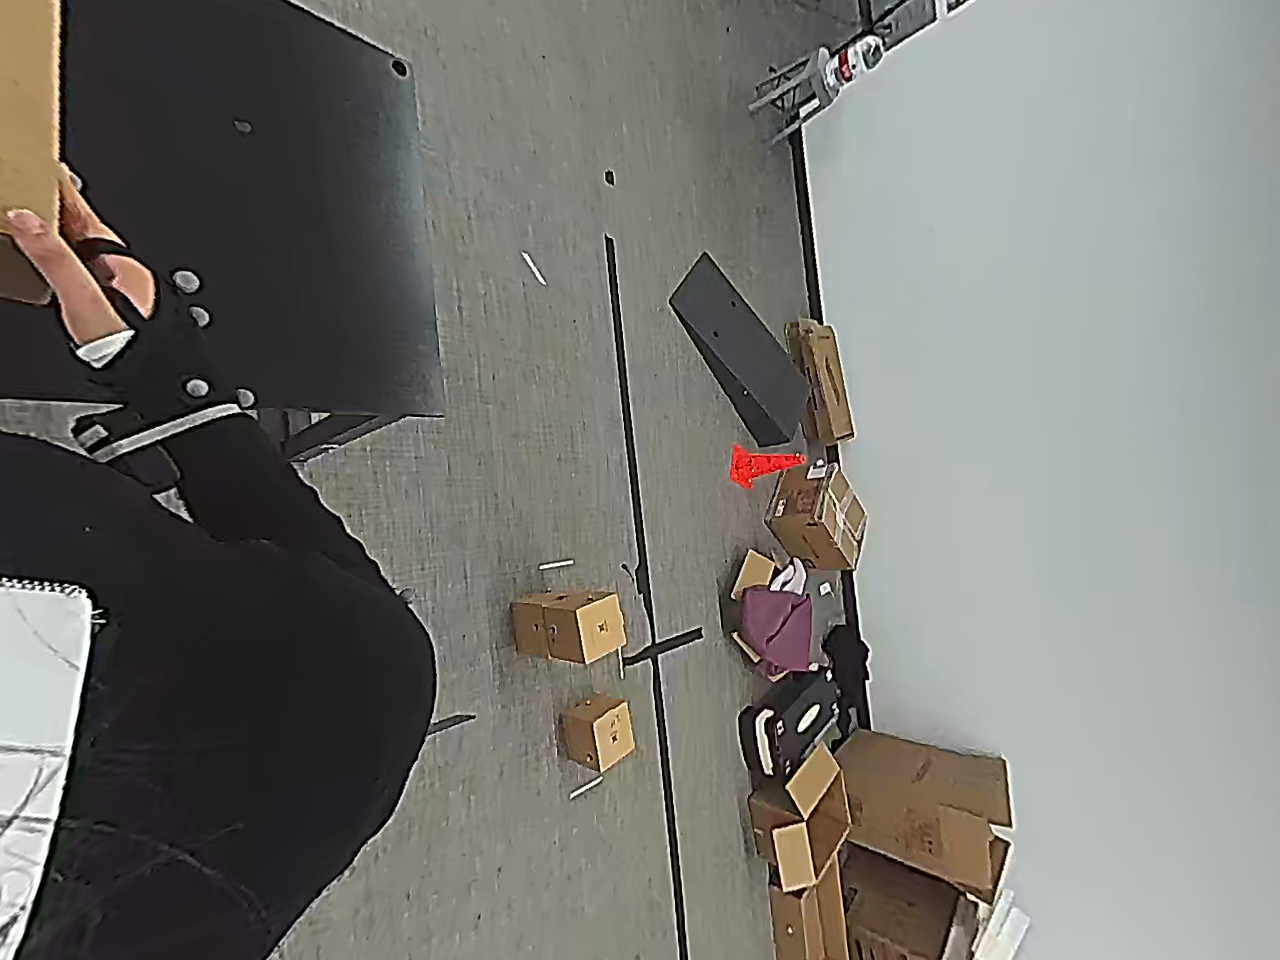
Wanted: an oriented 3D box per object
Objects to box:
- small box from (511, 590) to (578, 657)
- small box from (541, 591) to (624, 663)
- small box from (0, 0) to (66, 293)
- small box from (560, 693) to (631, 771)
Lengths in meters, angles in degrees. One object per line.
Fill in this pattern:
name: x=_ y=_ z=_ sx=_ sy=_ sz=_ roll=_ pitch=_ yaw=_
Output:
small box: x=-0.306 y=0.464 z=1.774 sx=0.168 sy=0.176 sz=0.179 roll=-7 pitch=90 yaw=-47
small box: x=-0.180 y=0.447 z=1.672 sx=0.179 sy=0.176 sz=0.168 roll=-12 pitch=92 yaw=-46
small box: x=-0.482 y=-0.233 z=0.338 sx=0.168 sy=0.176 sz=0.179 roll=0 pitch=91 yaw=-49
small box: x=-0.156 y=0.868 z=1.878 sx=0.168 sy=0.176 sz=0.179 roll=-12 pitch=93 yaw=-47
